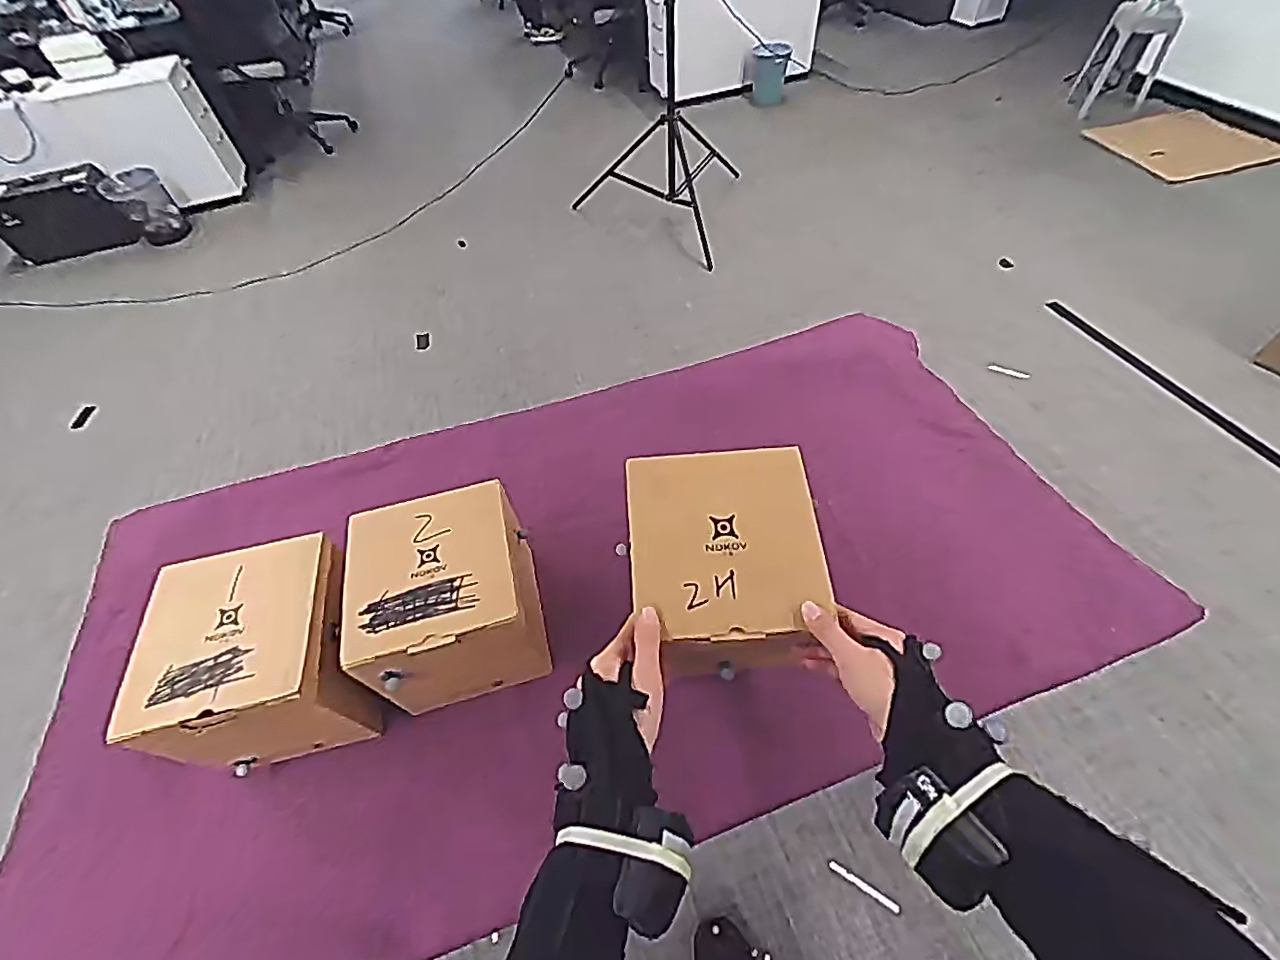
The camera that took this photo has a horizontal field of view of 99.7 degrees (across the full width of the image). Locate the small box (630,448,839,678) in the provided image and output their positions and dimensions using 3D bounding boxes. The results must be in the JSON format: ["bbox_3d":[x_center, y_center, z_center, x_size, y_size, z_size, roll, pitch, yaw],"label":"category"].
[{"bbox_3d":[0.077,0.089,0.541,0.168,0.176,0.179,-4,61,2],"label":"small box"}]
